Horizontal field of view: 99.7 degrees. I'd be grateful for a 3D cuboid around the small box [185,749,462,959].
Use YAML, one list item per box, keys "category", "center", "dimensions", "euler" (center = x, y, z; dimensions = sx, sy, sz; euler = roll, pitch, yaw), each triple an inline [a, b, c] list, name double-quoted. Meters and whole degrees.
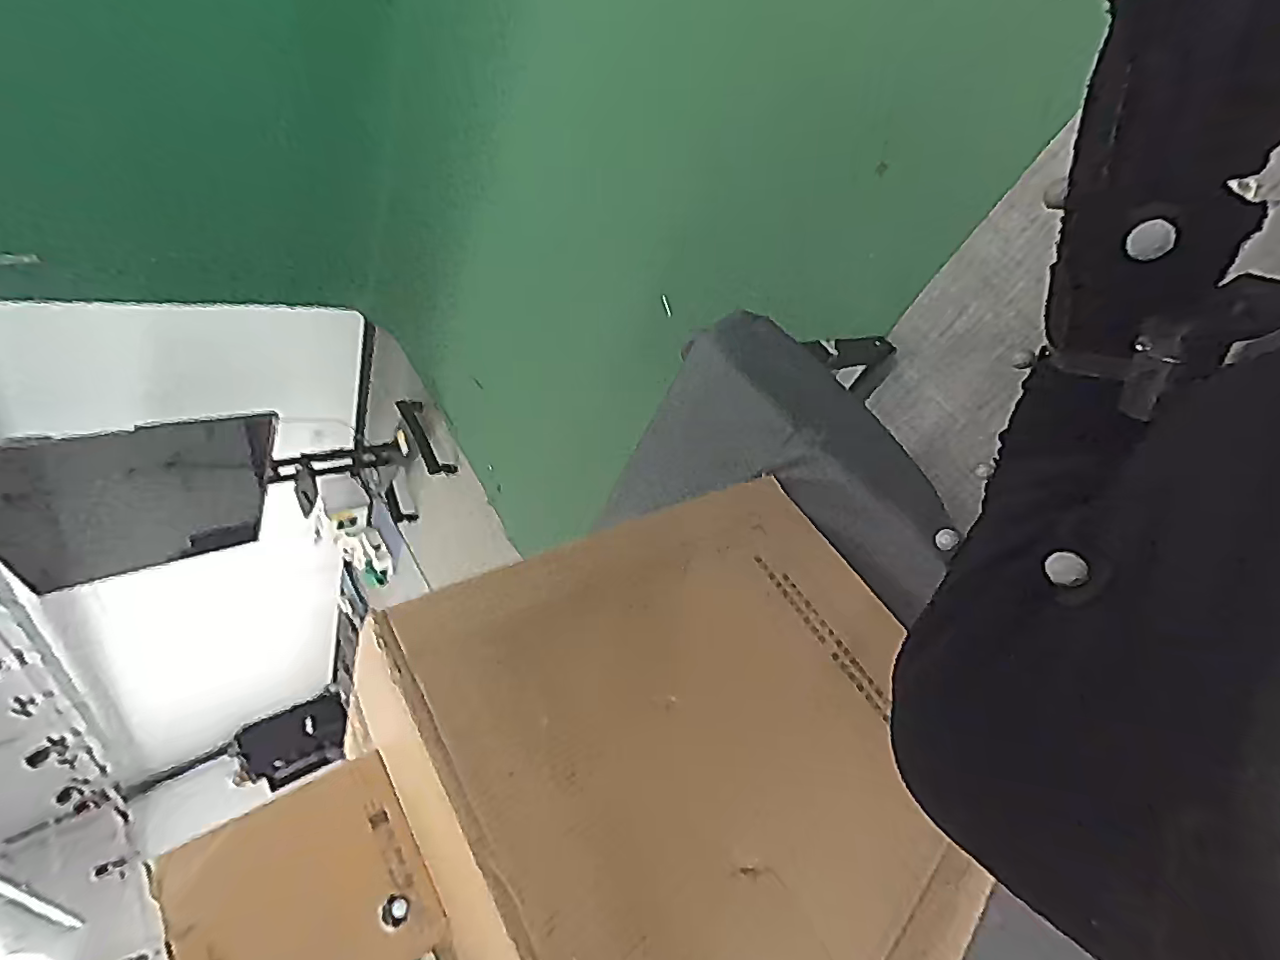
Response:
- category: "small box"
  center: [-0.281, 0.385, 0.494]
  dimensions: [0.168, 0.176, 0.179]
  euler: [50, 133, 27]
